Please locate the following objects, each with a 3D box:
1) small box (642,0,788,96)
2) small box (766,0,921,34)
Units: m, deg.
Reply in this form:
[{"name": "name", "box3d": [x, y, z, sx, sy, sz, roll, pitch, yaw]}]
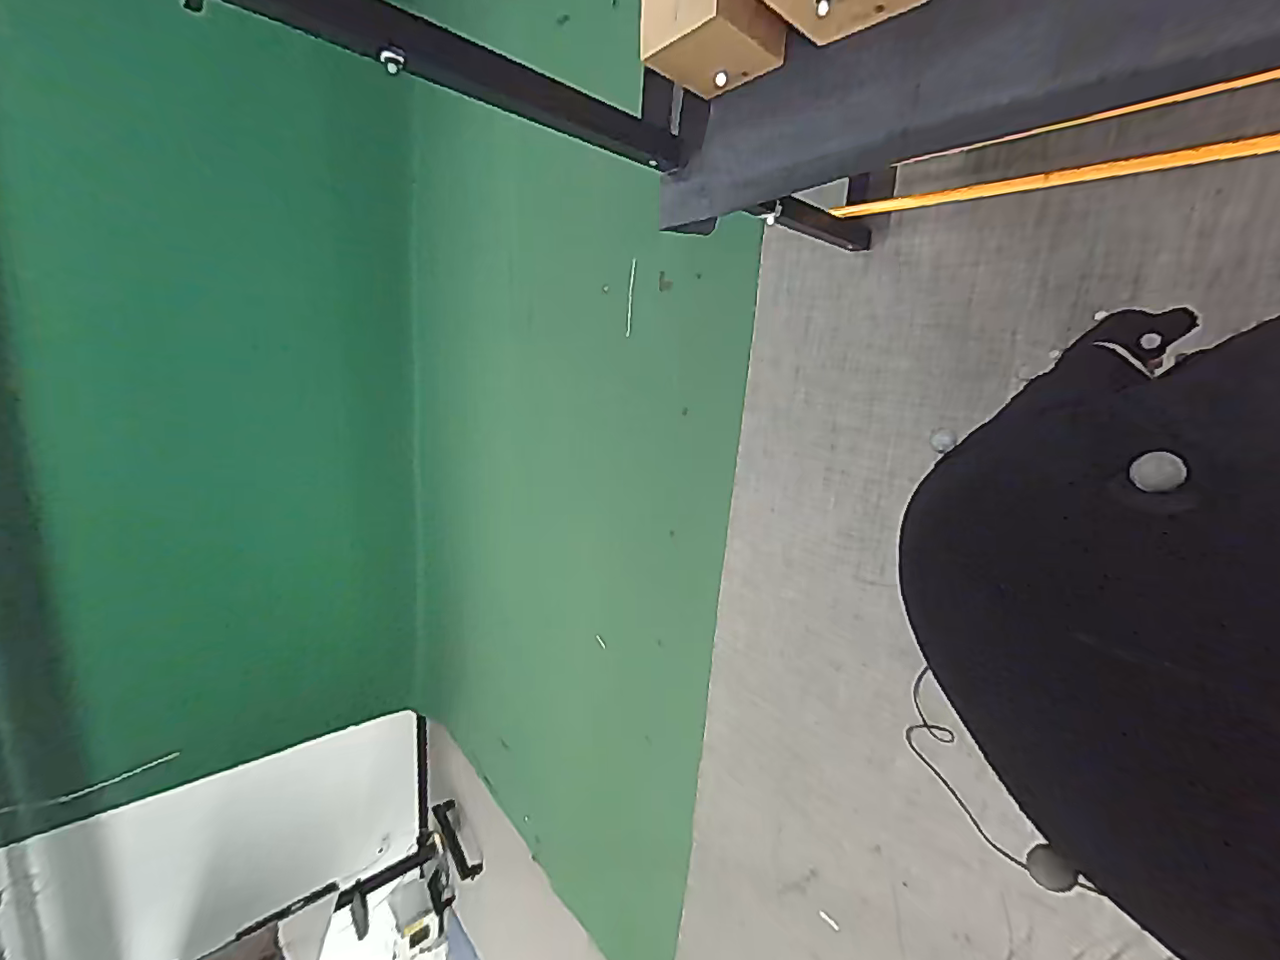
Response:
[{"name": "small box", "box3d": [0.123, -0.754, 0.851, 0.168, 0.176, 0.179, 14, 105, 48]}, {"name": "small box", "box3d": [0.273, -0.714, 0.685, 0.168, 0.176, 0.179, 17, 107, 47]}]
